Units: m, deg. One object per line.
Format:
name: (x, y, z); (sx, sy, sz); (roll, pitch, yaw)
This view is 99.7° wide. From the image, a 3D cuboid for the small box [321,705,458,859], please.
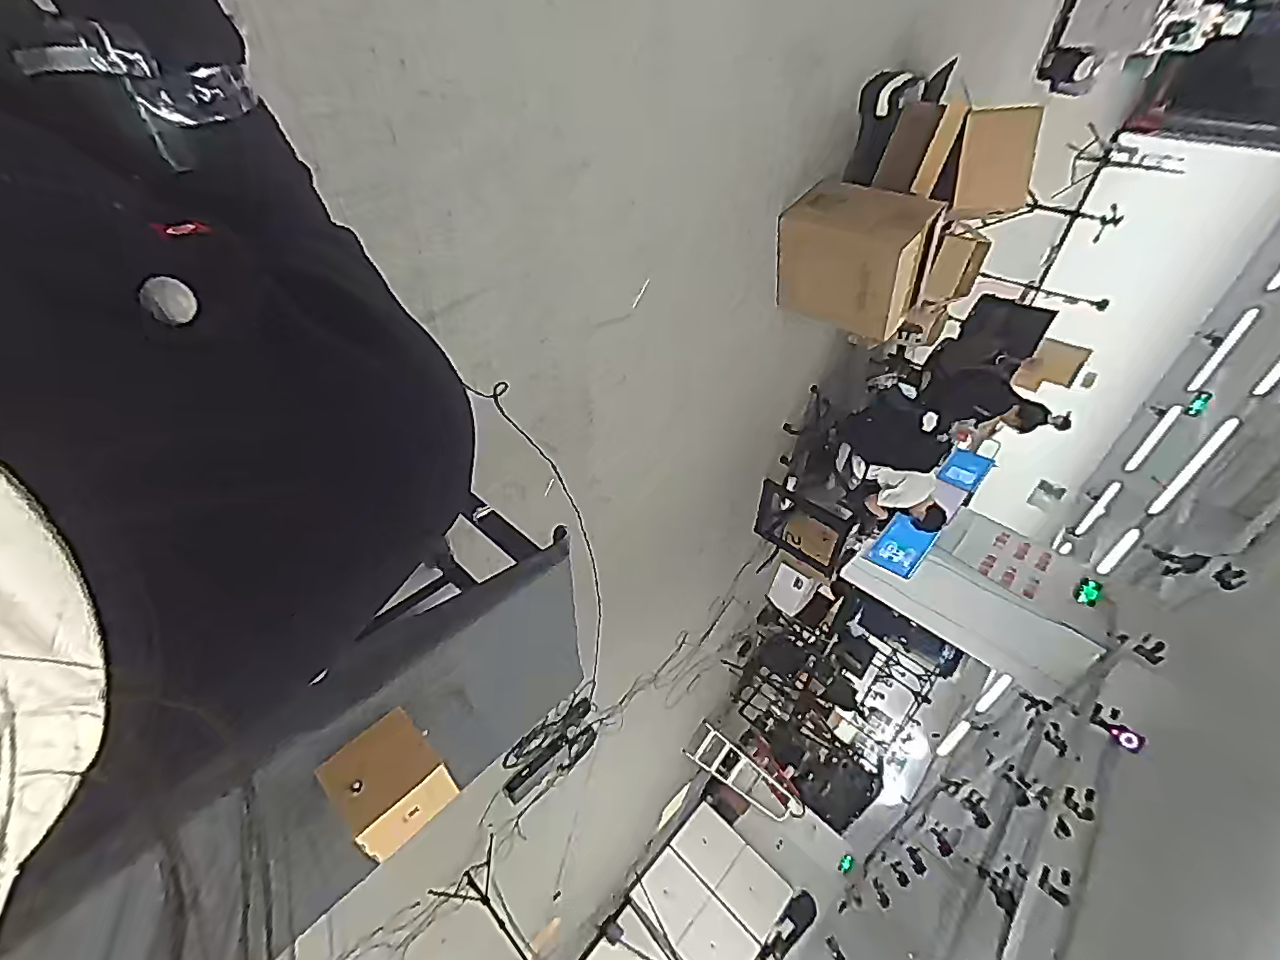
small box: (-0.498, 0.592, 1.073); (0.179, 0.176, 0.168); (-37, 146, -34)
